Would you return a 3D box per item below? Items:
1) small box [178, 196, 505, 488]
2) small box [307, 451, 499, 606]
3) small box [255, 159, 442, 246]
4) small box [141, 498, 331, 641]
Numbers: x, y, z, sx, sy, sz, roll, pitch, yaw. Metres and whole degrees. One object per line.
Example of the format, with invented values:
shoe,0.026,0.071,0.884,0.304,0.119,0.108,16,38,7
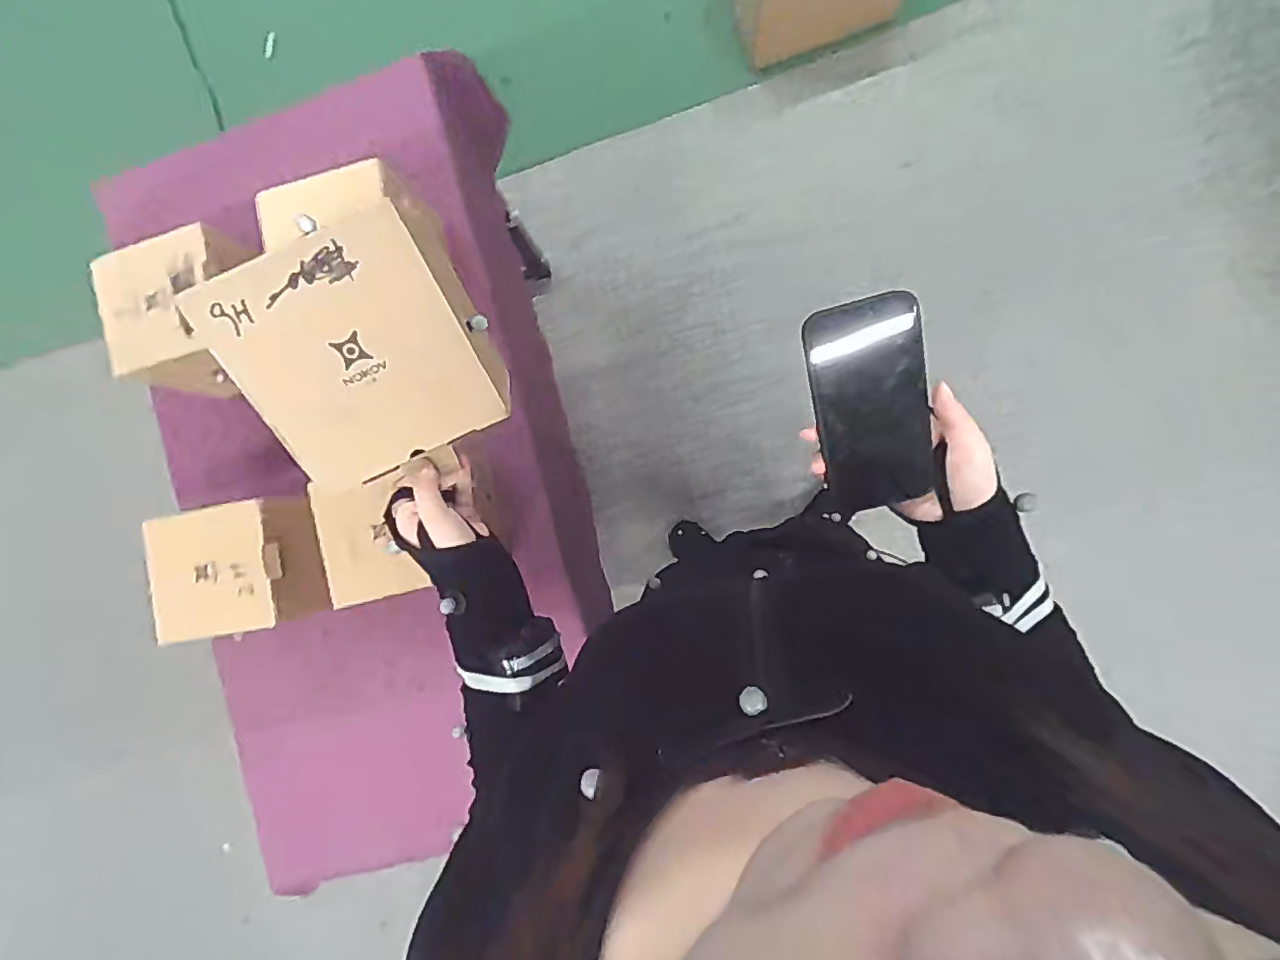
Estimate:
small box,-0.229,-0.126,0.480,0.168,0.176,0.179,-25,115,-2
small box,-0.312,0.062,0.752,0.179,0.176,0.168,-14,86,7
small box,-0.393,-0.309,0.769,0.179,0.176,0.168,-12,87,6
small box,-0.551,0.120,0.778,0.179,0.176,0.168,-10,88,6
